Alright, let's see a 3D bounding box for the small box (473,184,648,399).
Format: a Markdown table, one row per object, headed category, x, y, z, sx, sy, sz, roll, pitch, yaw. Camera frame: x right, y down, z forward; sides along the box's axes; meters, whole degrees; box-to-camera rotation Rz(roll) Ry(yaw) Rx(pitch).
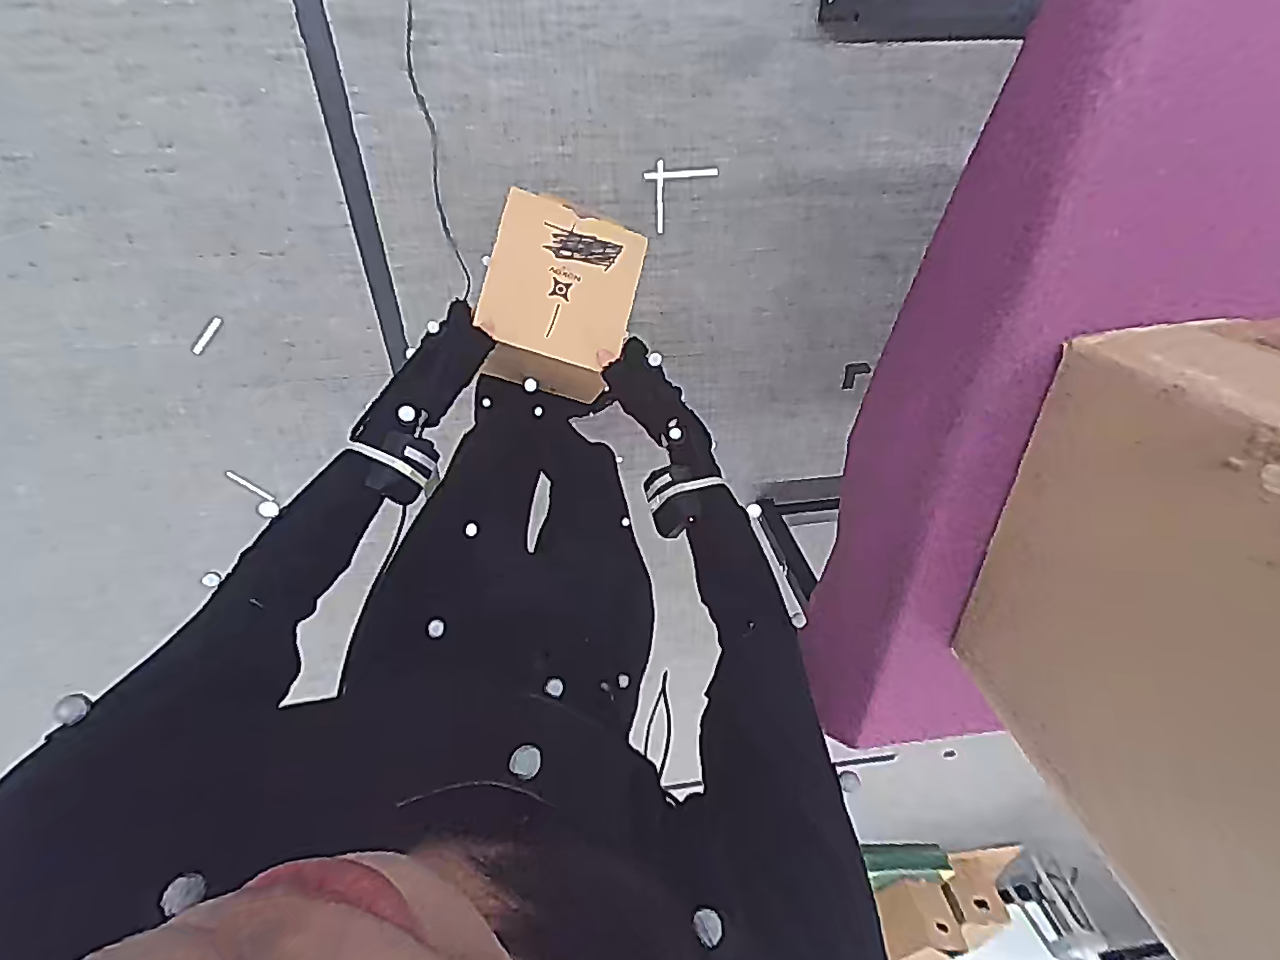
| category | x | y | z | sx | sy | sz | roll | pitch | yaw |
| --- | --- | --- | --- | --- | --- | --- | --- | --- | --- |
| small box | -0.106 | -0.219 | 0.680 | 0.168 | 0.176 | 0.179 | 15 | 83 | -13 |
